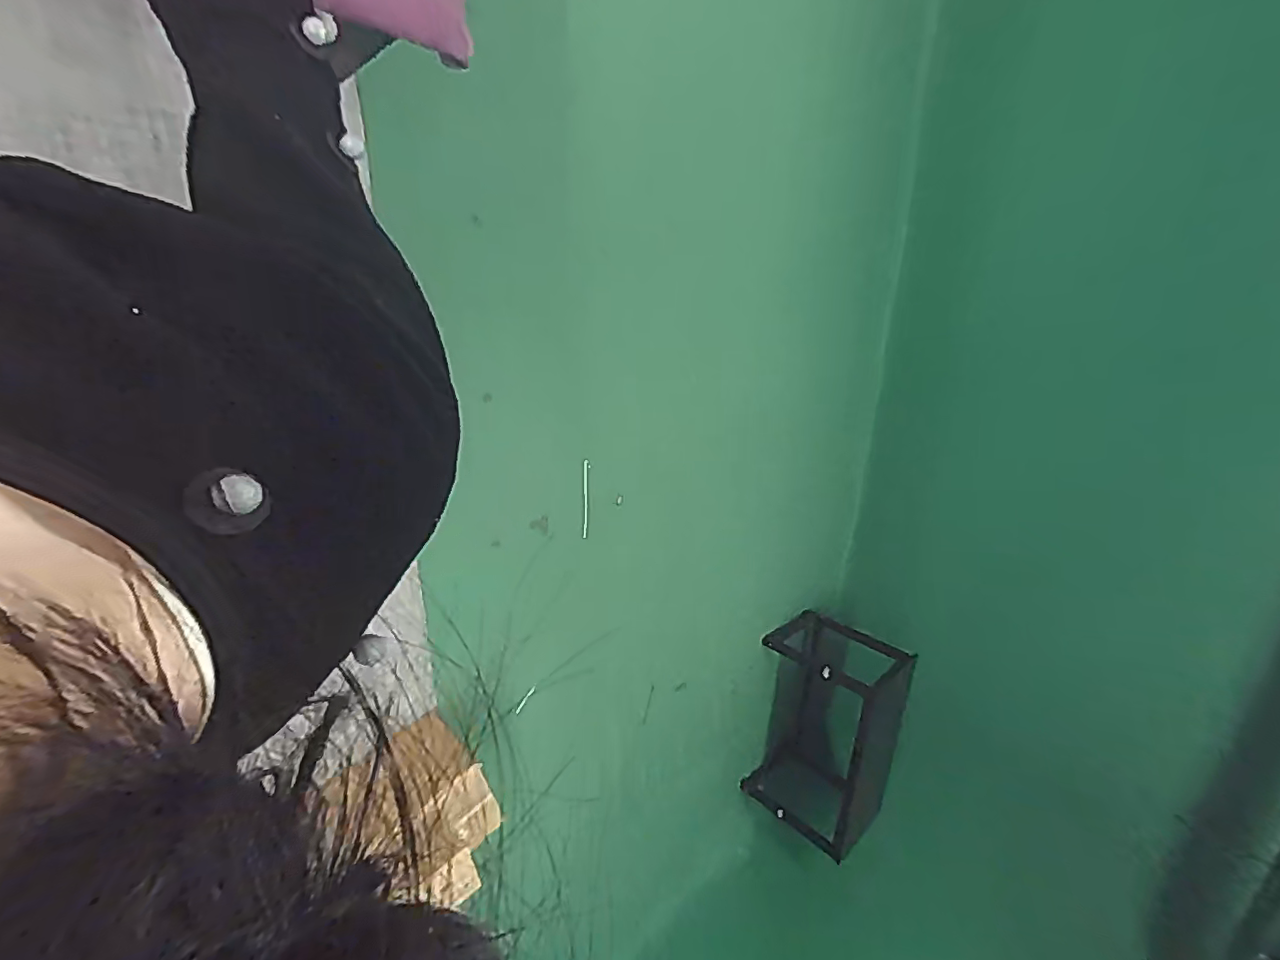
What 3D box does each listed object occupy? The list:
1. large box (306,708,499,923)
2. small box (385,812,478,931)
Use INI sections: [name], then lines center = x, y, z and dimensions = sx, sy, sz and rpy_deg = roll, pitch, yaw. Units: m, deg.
[large box]
center = -0.725, 1.012, 1.676
dimensions = 0.408, 0.320, 0.320
rpy_deg = -33, 127, -36
[small box]
center = -0.574, 1.057, 1.481
dimensions = 0.168, 0.176, 0.179
rpy_deg = -25, 121, -37
